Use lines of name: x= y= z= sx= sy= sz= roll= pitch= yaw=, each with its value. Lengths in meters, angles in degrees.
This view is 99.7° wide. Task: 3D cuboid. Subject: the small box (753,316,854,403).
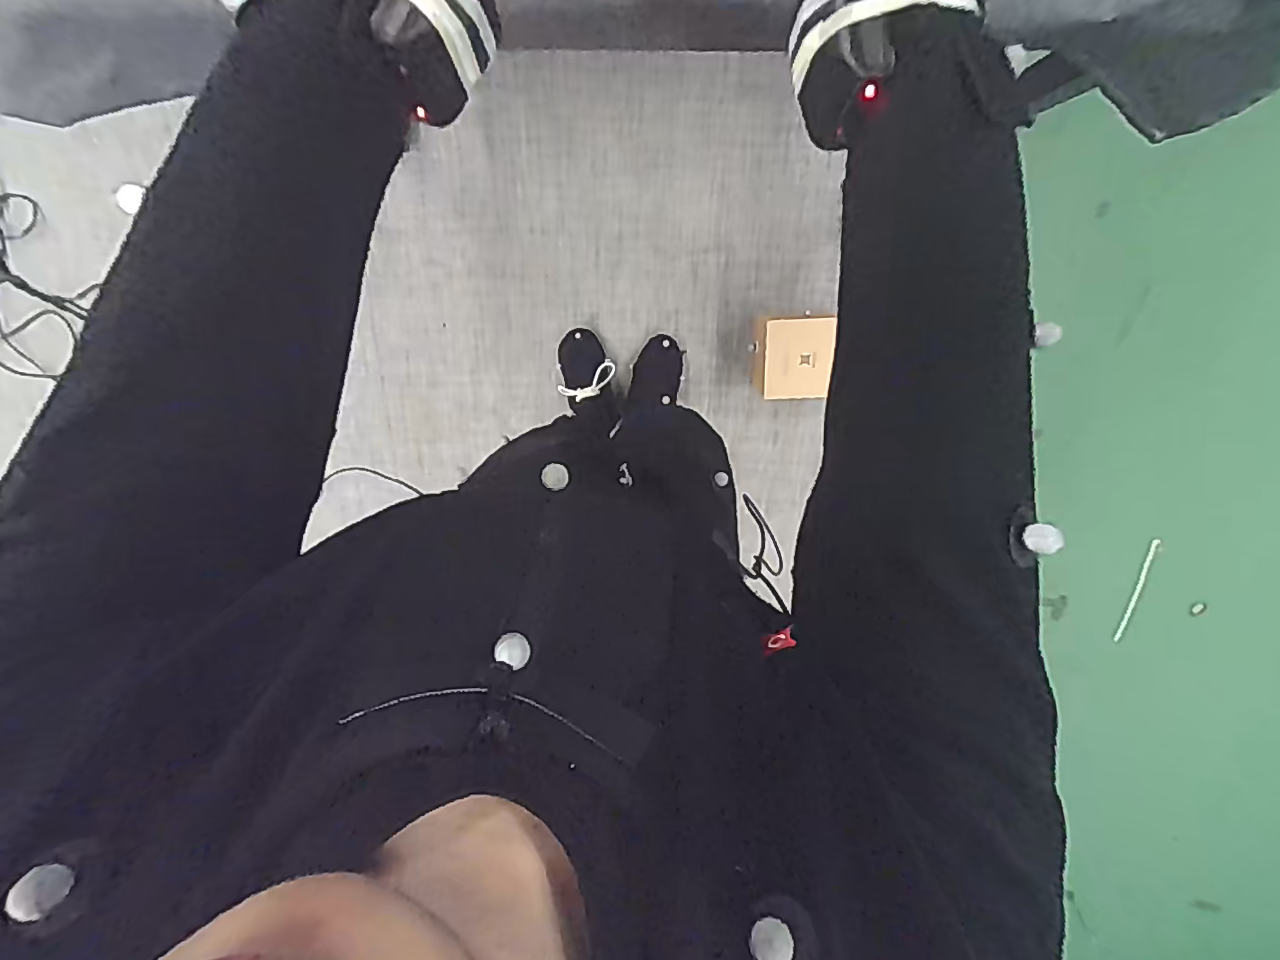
small box: x=0.351 y=-0.270 z=1.191 sx=0.179 sy=0.176 sz=0.168 roll=-2 pitch=109 yaw=4
